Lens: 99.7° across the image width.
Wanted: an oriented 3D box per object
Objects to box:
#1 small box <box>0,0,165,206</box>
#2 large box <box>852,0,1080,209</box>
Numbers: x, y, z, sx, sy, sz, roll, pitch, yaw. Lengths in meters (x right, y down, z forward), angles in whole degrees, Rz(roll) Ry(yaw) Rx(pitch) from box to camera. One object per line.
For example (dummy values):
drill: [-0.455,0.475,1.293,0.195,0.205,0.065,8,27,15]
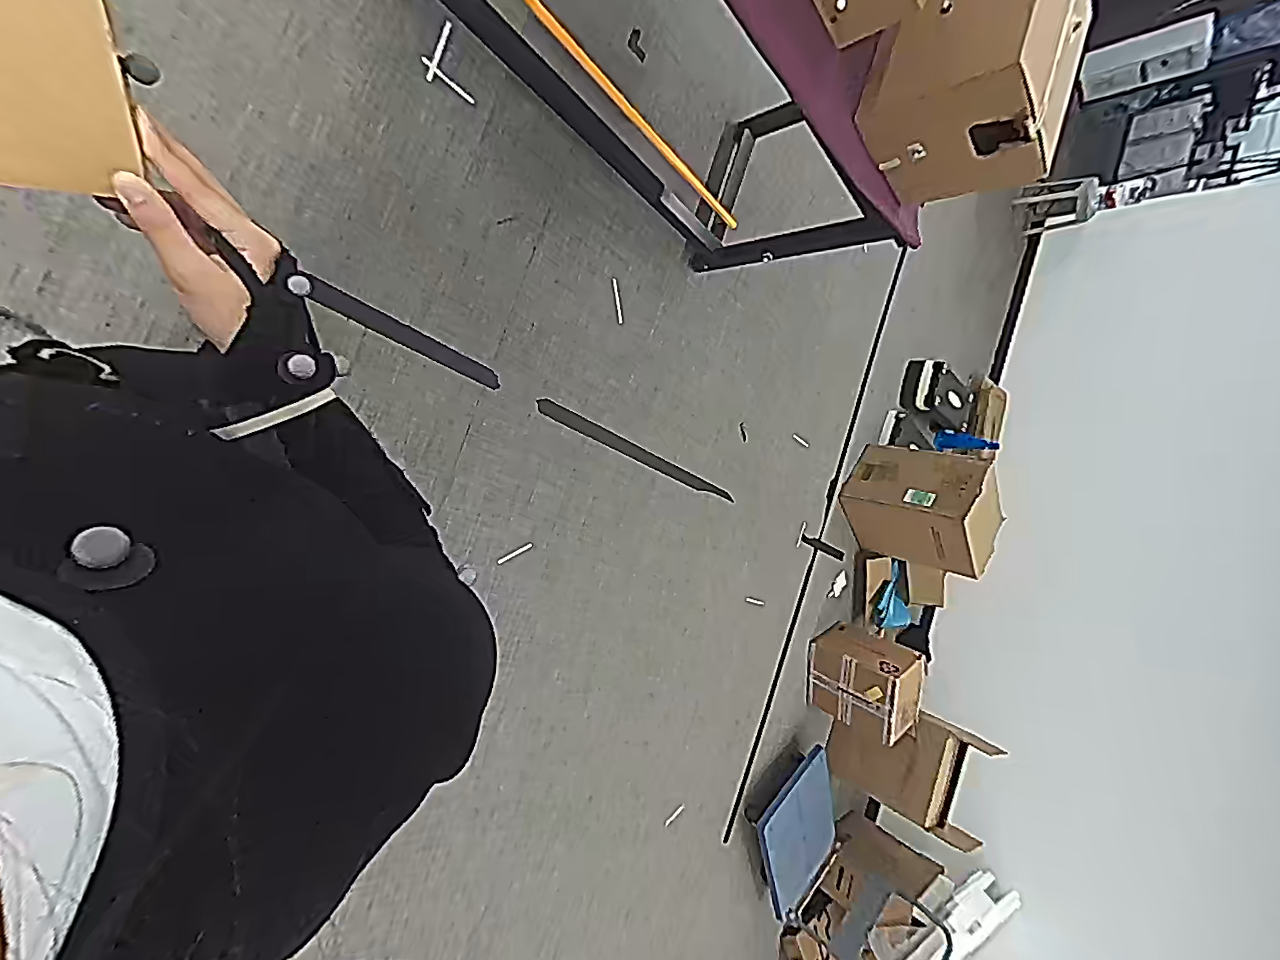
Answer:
small box: [-0.368,-0.253,0.266,0.179,0.176,0.168,-11,129,-36]
large box: [0.713,-0.893,1.185,0.320,0.320,0.408,23,82,-44]
